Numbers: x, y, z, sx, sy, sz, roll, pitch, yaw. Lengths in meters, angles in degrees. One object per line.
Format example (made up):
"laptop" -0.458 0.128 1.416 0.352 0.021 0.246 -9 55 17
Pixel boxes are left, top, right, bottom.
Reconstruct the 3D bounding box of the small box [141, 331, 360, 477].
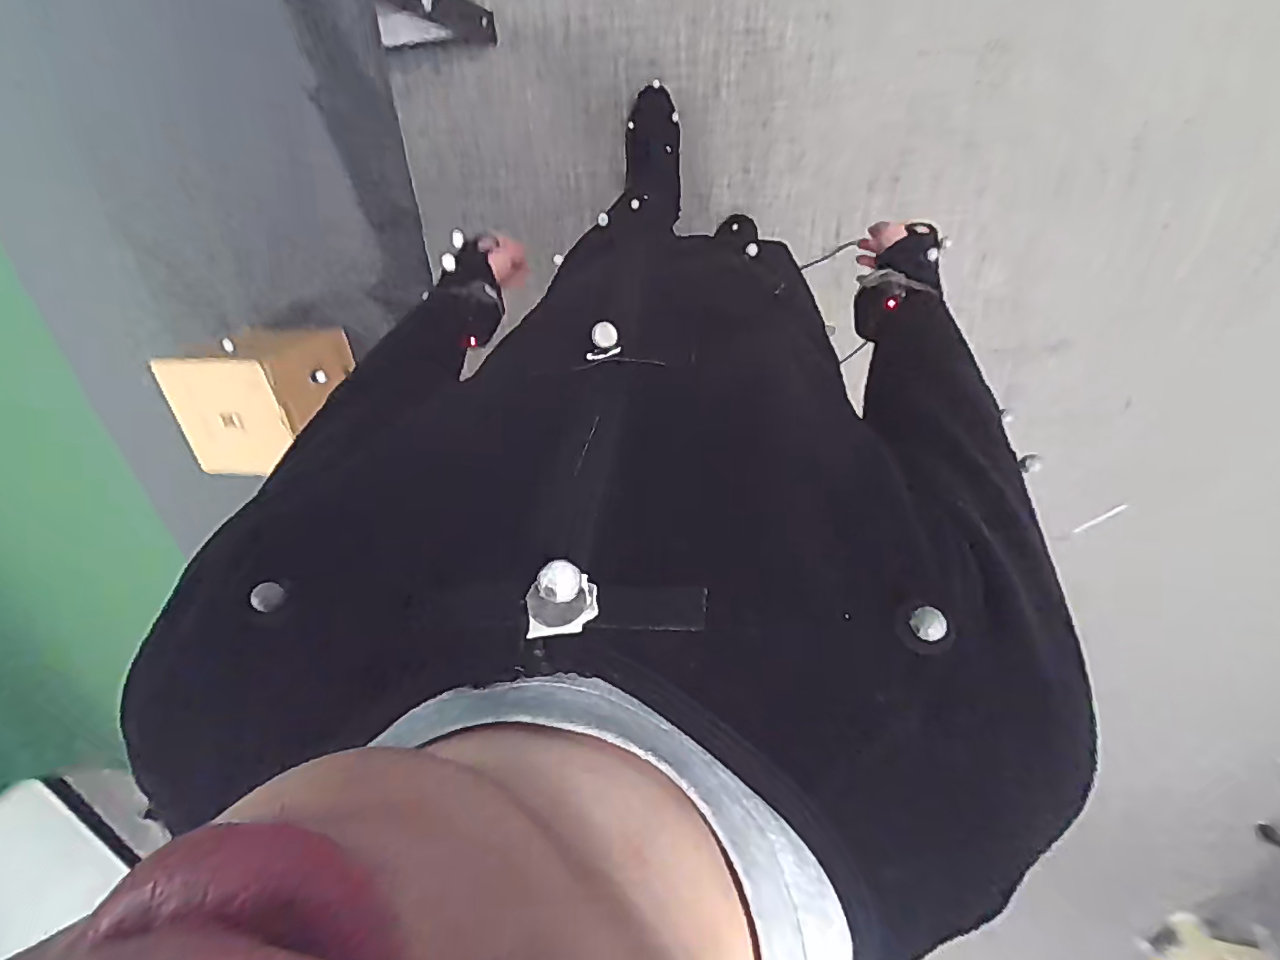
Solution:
"small box" -0.540 -0.117 0.786 0.179 0.176 0.168 2 119 11
